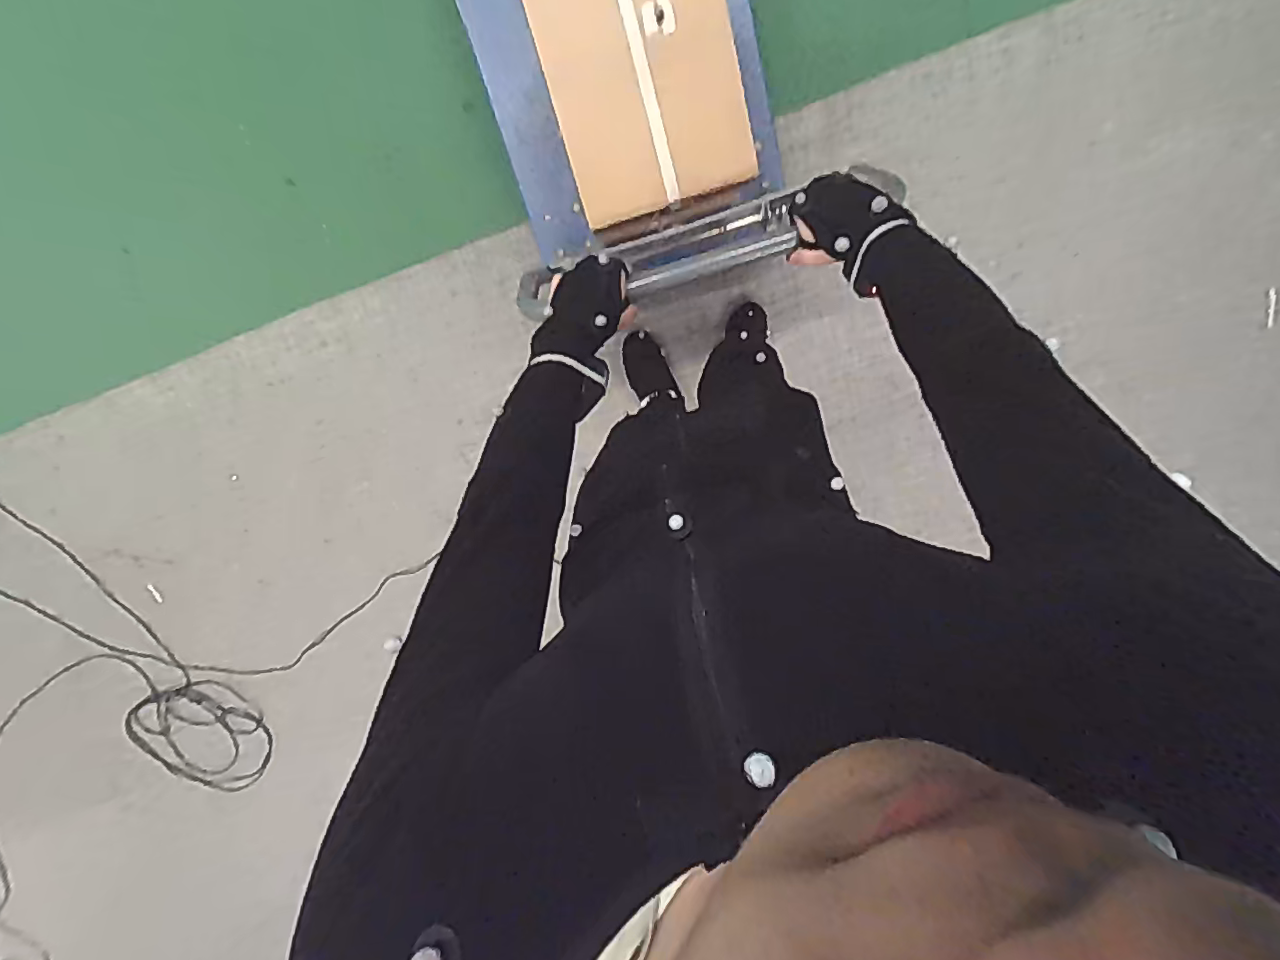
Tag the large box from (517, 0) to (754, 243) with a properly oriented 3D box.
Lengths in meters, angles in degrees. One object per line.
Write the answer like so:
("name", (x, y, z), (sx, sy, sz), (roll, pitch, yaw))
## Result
("large box", (0.001, -0.719, 1.041), (0.320, 0.320, 0.408), (-16, 109, 6))
